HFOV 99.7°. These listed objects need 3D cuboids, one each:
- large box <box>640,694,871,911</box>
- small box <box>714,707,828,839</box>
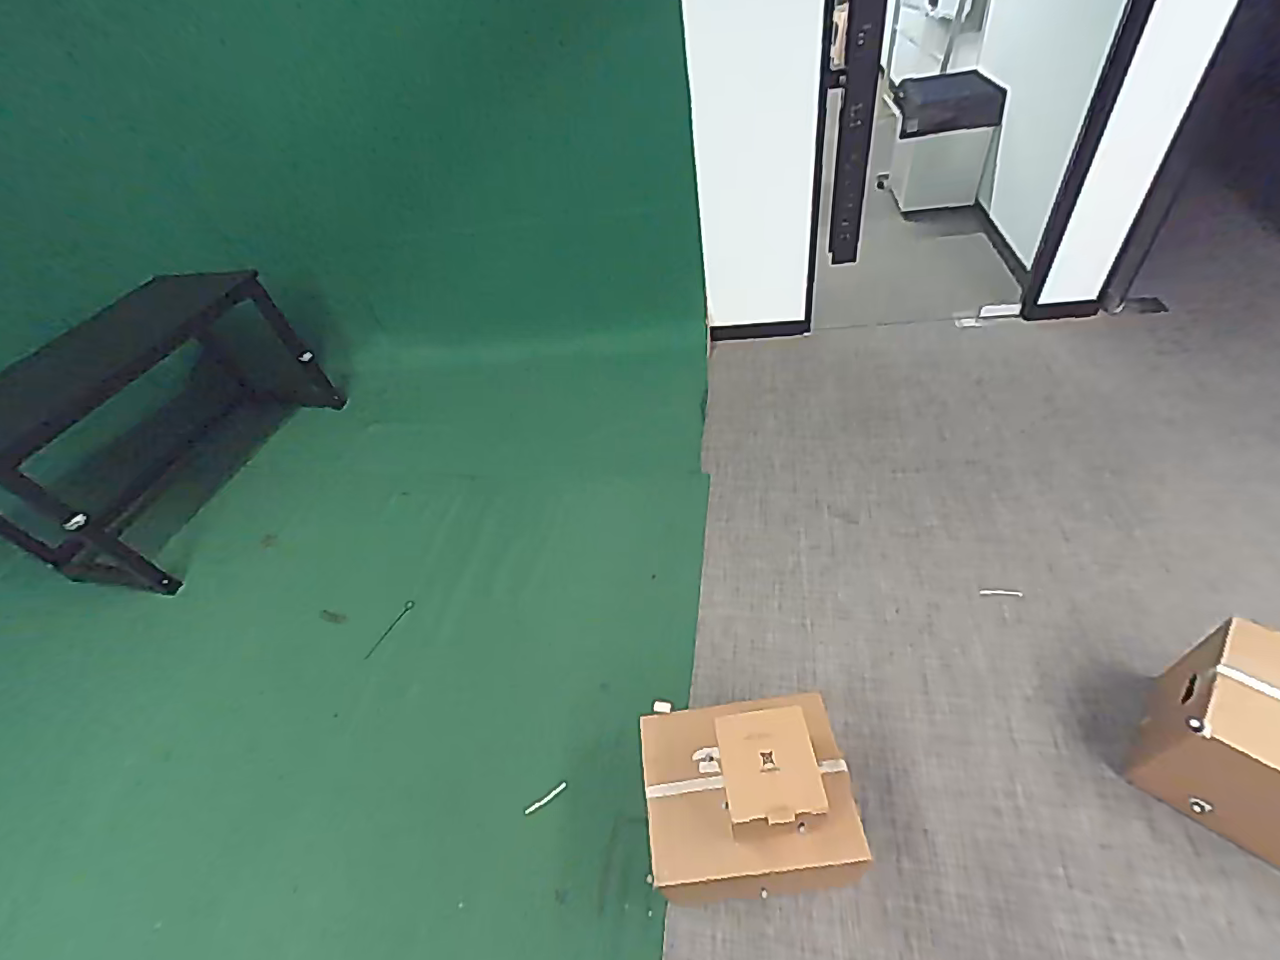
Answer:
[{"bbox_3d":[0.235,0.711,1.184,0.408,0.320,0.320,-11,44,4],"label":"large box"},{"bbox_3d":[0.236,0.545,0.997,0.168,0.176,0.179,-9,46,3],"label":"small box"}]
